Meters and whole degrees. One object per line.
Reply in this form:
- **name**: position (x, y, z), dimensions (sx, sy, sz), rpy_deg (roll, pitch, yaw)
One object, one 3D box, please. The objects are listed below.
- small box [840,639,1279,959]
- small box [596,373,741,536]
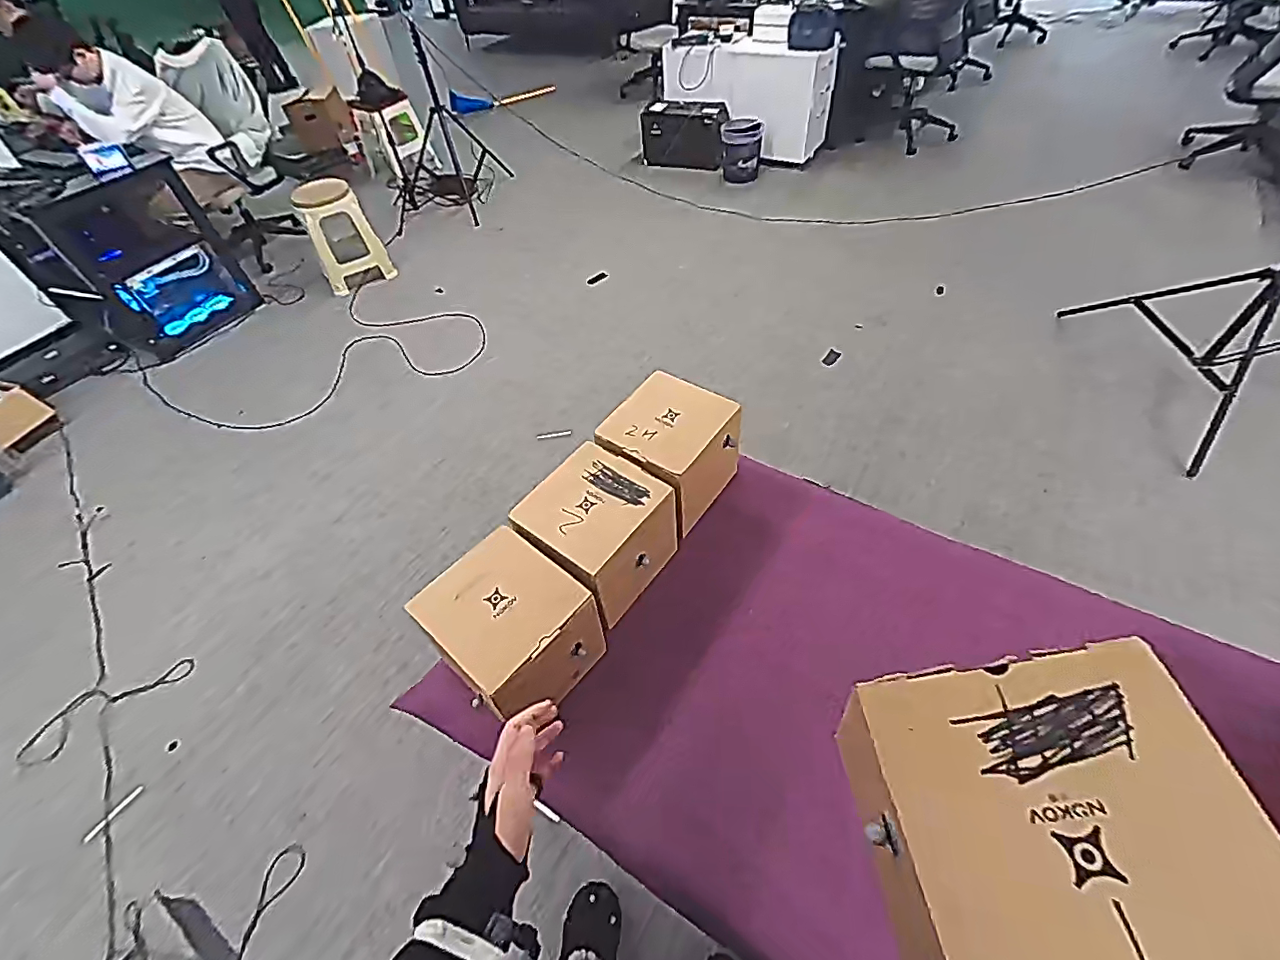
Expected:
- **small box**: position (0.236, 0.224, 0.338), dimensions (0.168, 0.176, 0.179), rpy_deg (-13, 54, 6)
- **small box**: position (0.050, -0.042, 0.906), dimensions (0.168, 0.176, 0.179), rpy_deg (28, 59, 26)
